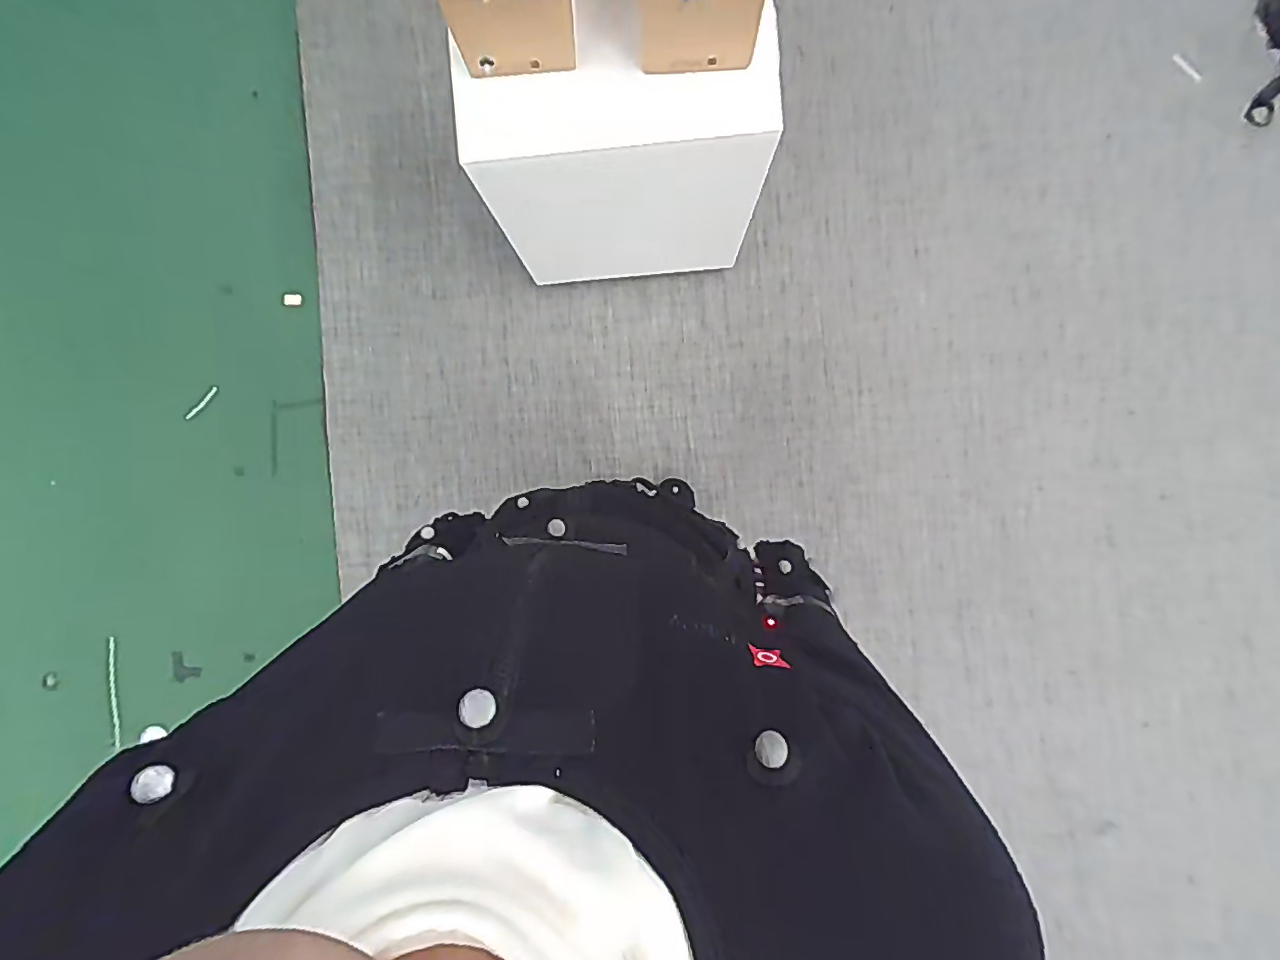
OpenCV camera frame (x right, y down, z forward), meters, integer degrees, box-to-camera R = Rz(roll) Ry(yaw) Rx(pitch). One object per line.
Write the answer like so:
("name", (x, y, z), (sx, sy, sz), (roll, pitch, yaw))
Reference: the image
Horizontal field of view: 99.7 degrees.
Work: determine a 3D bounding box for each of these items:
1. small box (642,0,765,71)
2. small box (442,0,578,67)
("small box", (0.086, -0.718, 0.751), (0.168, 0.176, 0.179), (-1, 90, 3))
("small box", (-0.183, -0.723, 0.762), (0.168, 0.176, 0.179), (-4, 90, 1))
